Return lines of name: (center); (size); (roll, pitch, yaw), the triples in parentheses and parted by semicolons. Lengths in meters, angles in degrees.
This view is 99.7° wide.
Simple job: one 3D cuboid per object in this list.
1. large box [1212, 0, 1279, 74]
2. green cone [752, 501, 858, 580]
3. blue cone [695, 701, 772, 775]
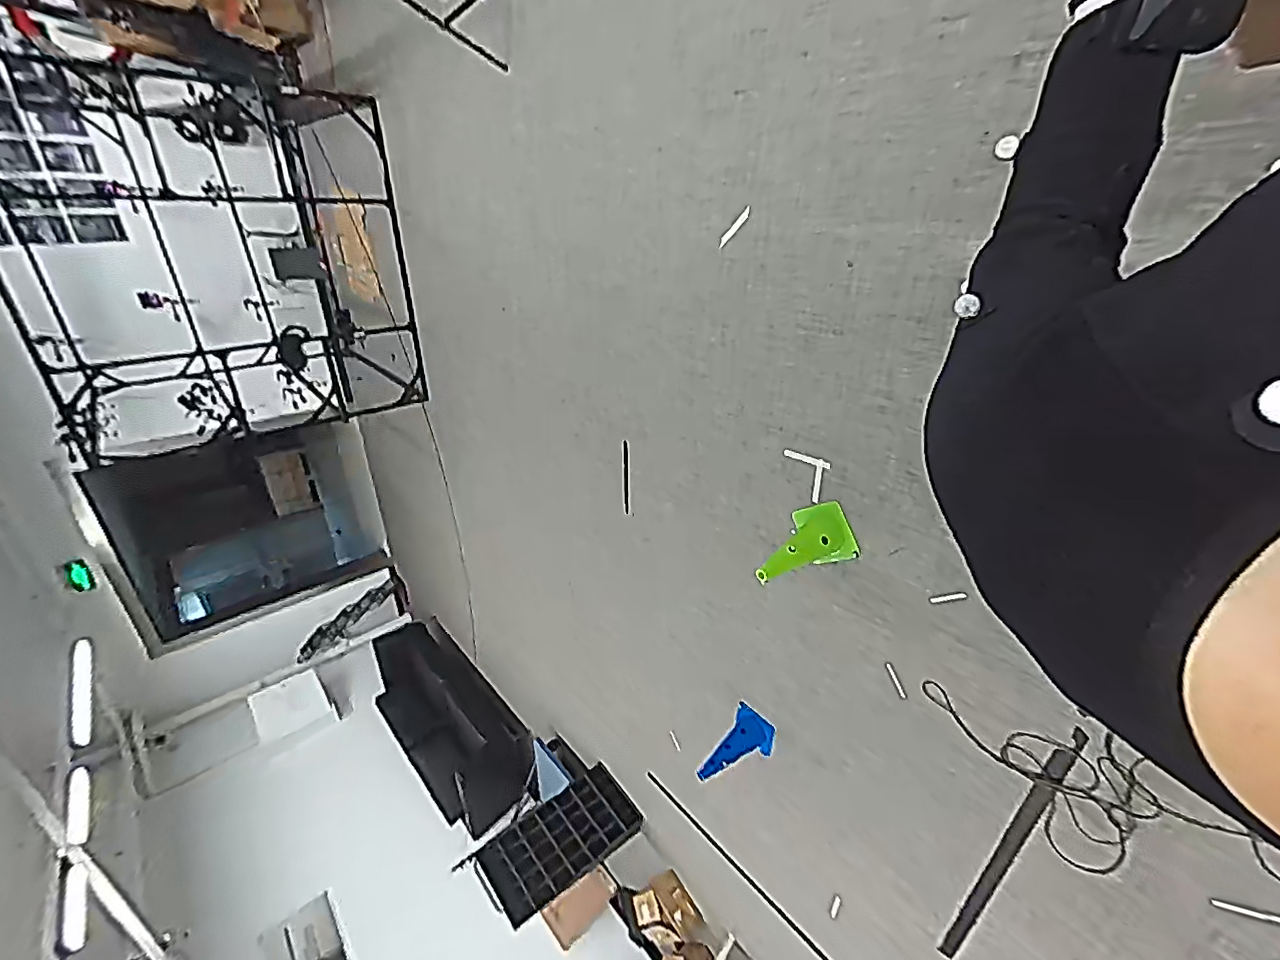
large box: (0.571, -0.438, 0.229); (0.408, 0.320, 0.320); (18, 121, 44)
green cone: (0.492, 0.226, 1.725); (0.202, 0.368, 0.200); (-27, 85, 55)
blue cone: (0.388, 1.163, 2.351); (0.192, 0.380, 0.193); (32, 130, 40)
